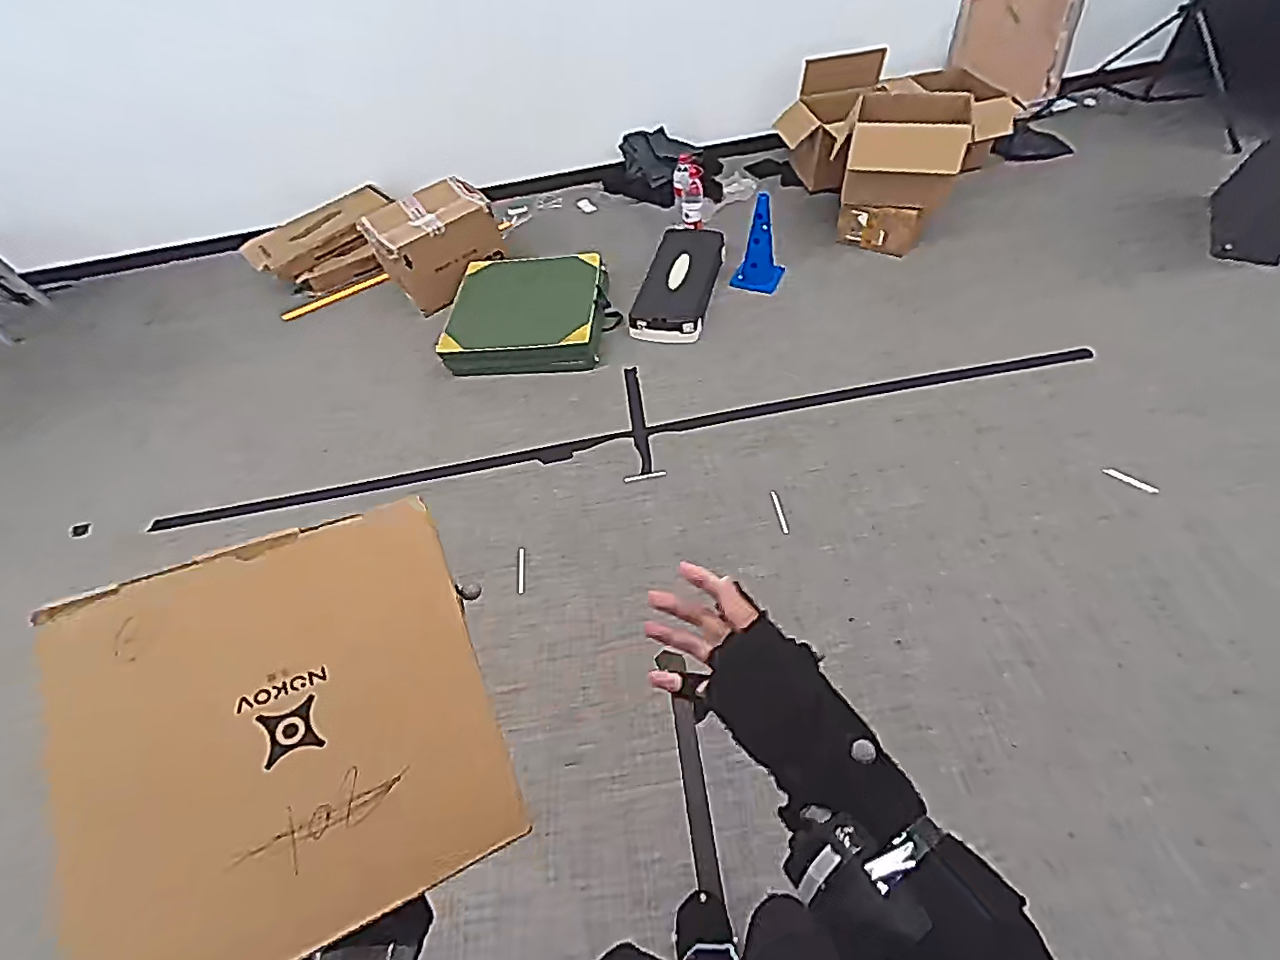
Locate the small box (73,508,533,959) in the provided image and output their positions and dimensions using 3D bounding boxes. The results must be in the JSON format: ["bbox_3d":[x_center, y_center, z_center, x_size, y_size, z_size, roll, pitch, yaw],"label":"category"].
[{"bbox_3d":[-0.175,0.143,0.323,0.168,0.176,0.179,-17,72,-22],"label":"small box"}]
